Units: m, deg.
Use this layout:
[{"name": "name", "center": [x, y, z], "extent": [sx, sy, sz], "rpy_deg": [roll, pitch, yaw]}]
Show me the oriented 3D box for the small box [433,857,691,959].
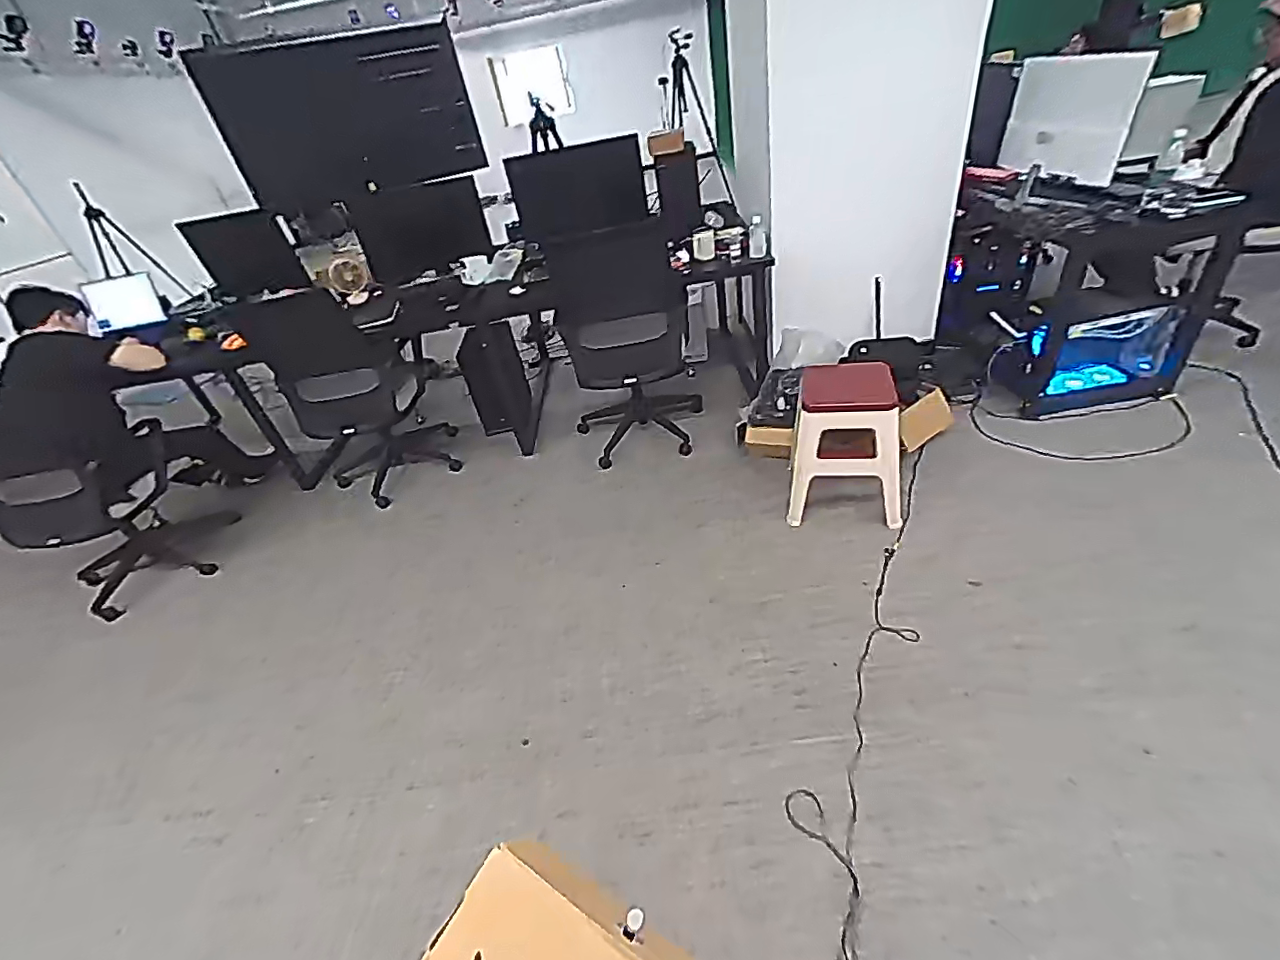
[{"name": "small box", "center": [-0.054, 0.362, 0.332], "extent": [0.179, 0.176, 0.168], "rpy_deg": [26, 60, 15]}]
